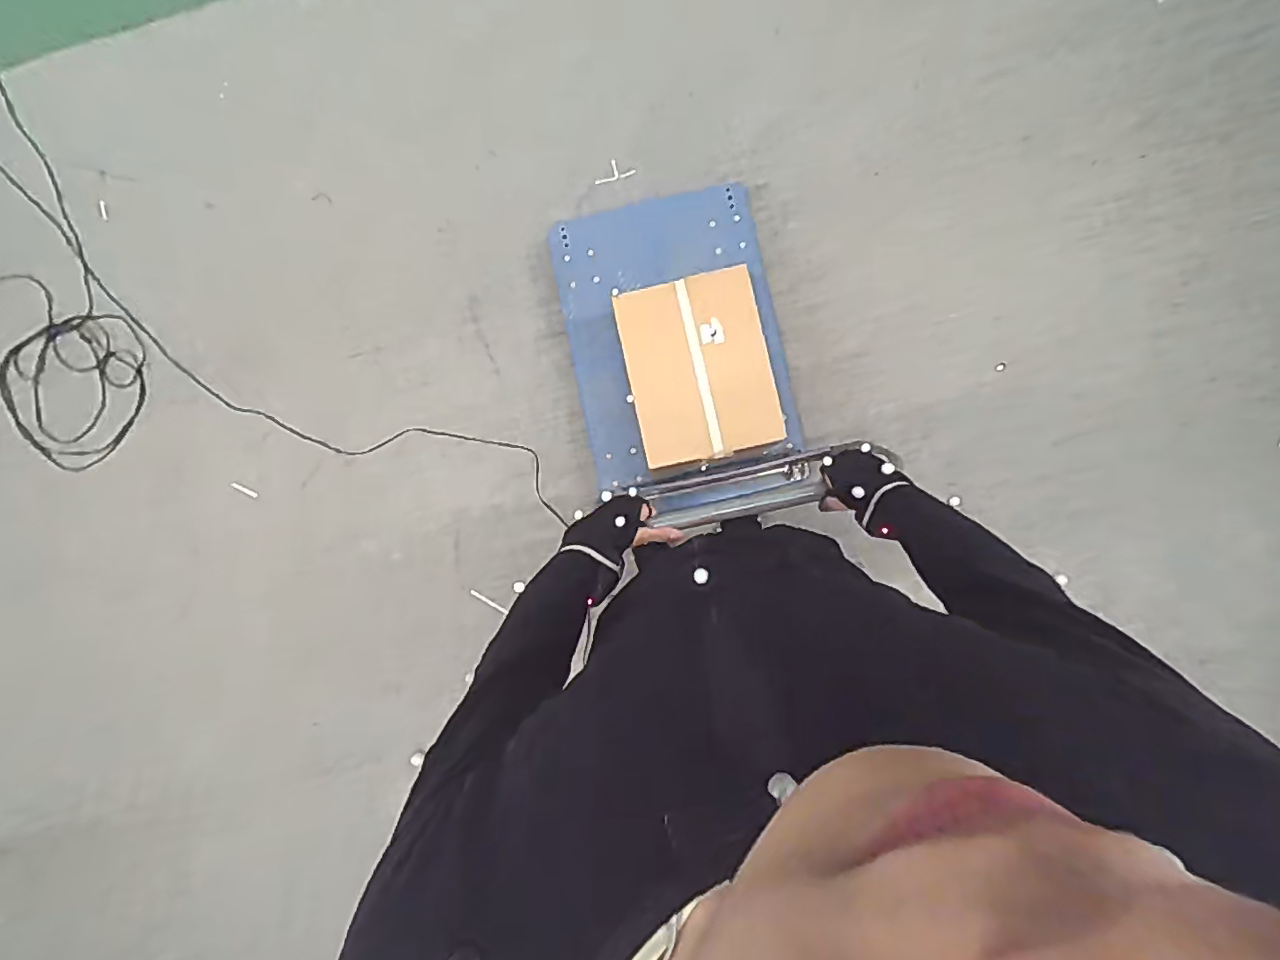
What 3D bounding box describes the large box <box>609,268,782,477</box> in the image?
[{"bbox_3d":[0.133,-0.243,1.356,0.320,0.320,0.408,-13,85,2],"label":"large box"}]
